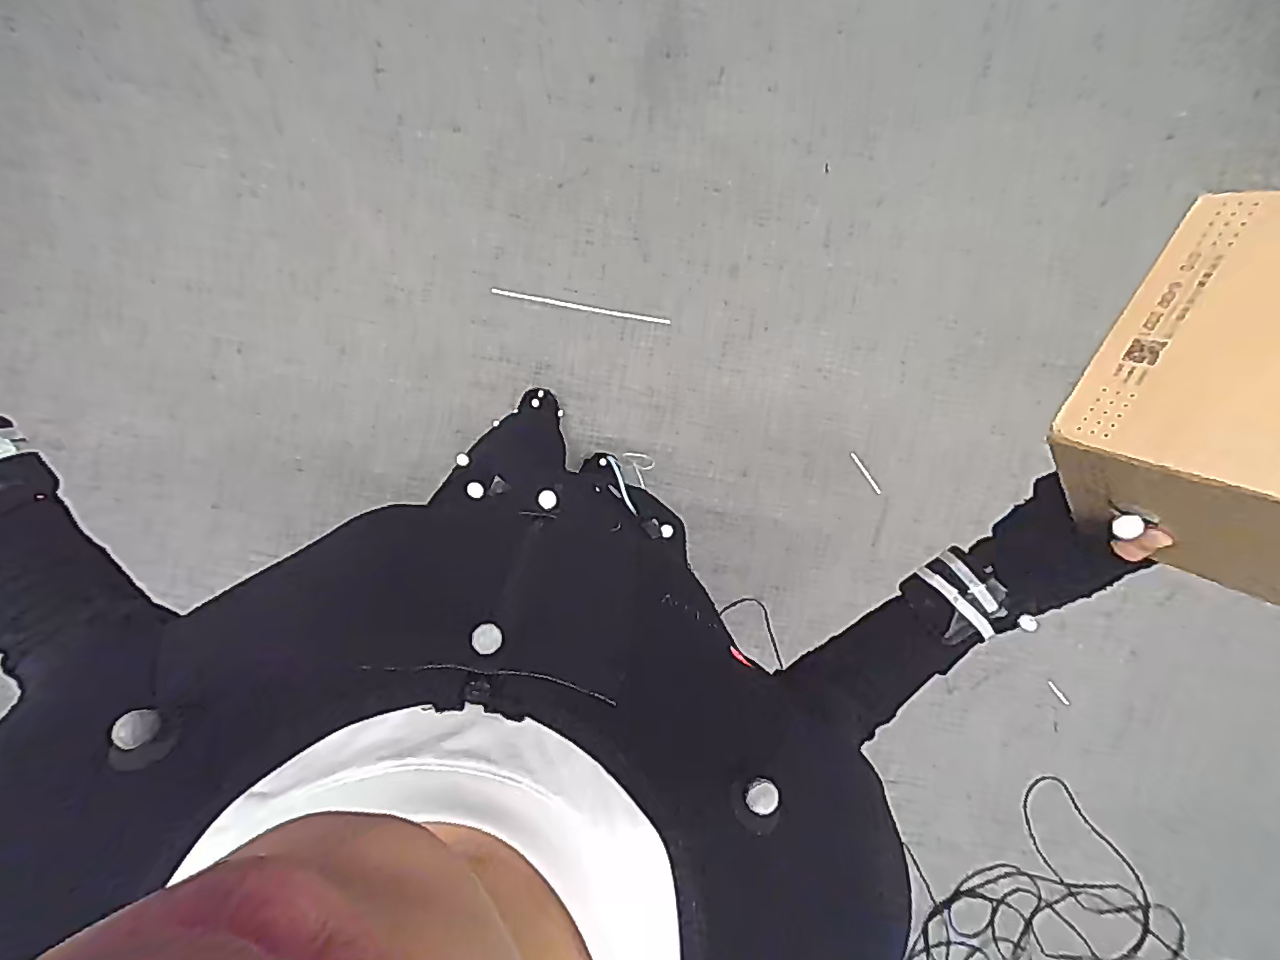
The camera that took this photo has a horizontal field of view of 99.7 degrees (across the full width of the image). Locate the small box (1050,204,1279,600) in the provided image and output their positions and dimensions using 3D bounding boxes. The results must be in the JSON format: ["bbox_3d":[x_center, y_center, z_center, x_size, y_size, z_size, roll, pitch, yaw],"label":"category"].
[{"bbox_3d":[0.375,-0.037,0.308,0.179,0.176,0.168,31,92,-42],"label":"small box"}]
